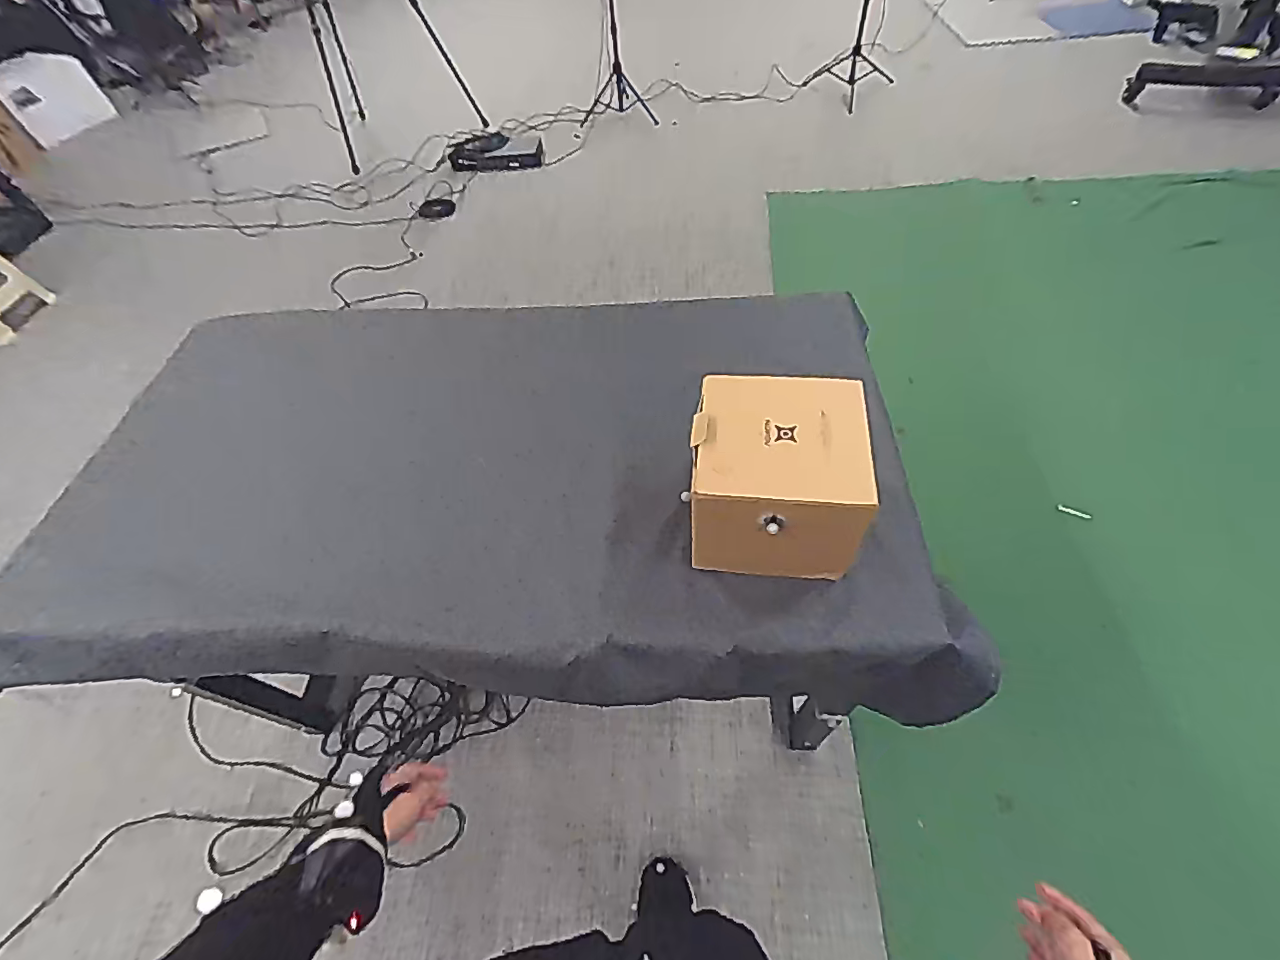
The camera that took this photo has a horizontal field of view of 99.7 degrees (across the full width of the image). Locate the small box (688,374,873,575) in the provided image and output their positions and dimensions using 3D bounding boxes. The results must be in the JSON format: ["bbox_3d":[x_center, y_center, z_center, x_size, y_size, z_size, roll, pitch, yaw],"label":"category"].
[{"bbox_3d":[0.151,-0.002,0.625,0.179,0.176,0.168,4,56,8],"label":"small box"}]
